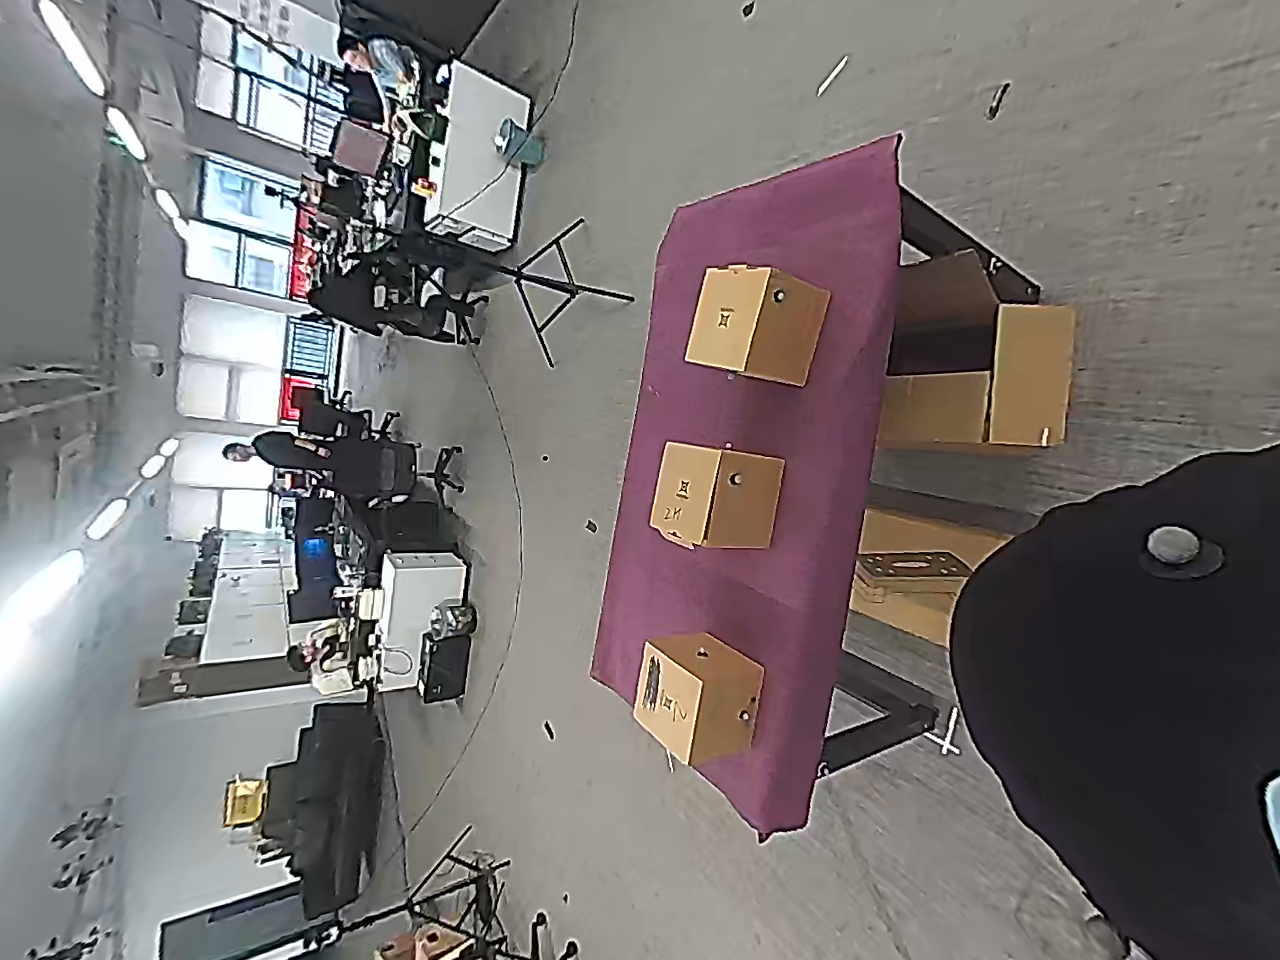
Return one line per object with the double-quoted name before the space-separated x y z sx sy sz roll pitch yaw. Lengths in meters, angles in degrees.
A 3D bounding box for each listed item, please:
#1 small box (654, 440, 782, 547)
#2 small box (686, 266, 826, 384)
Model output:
"small box" 0.153 0.025 1.051 0.168 0.176 0.179 17 100 56
"small box" 0.215 -0.283 1.001 0.168 0.176 0.179 28 108 52
